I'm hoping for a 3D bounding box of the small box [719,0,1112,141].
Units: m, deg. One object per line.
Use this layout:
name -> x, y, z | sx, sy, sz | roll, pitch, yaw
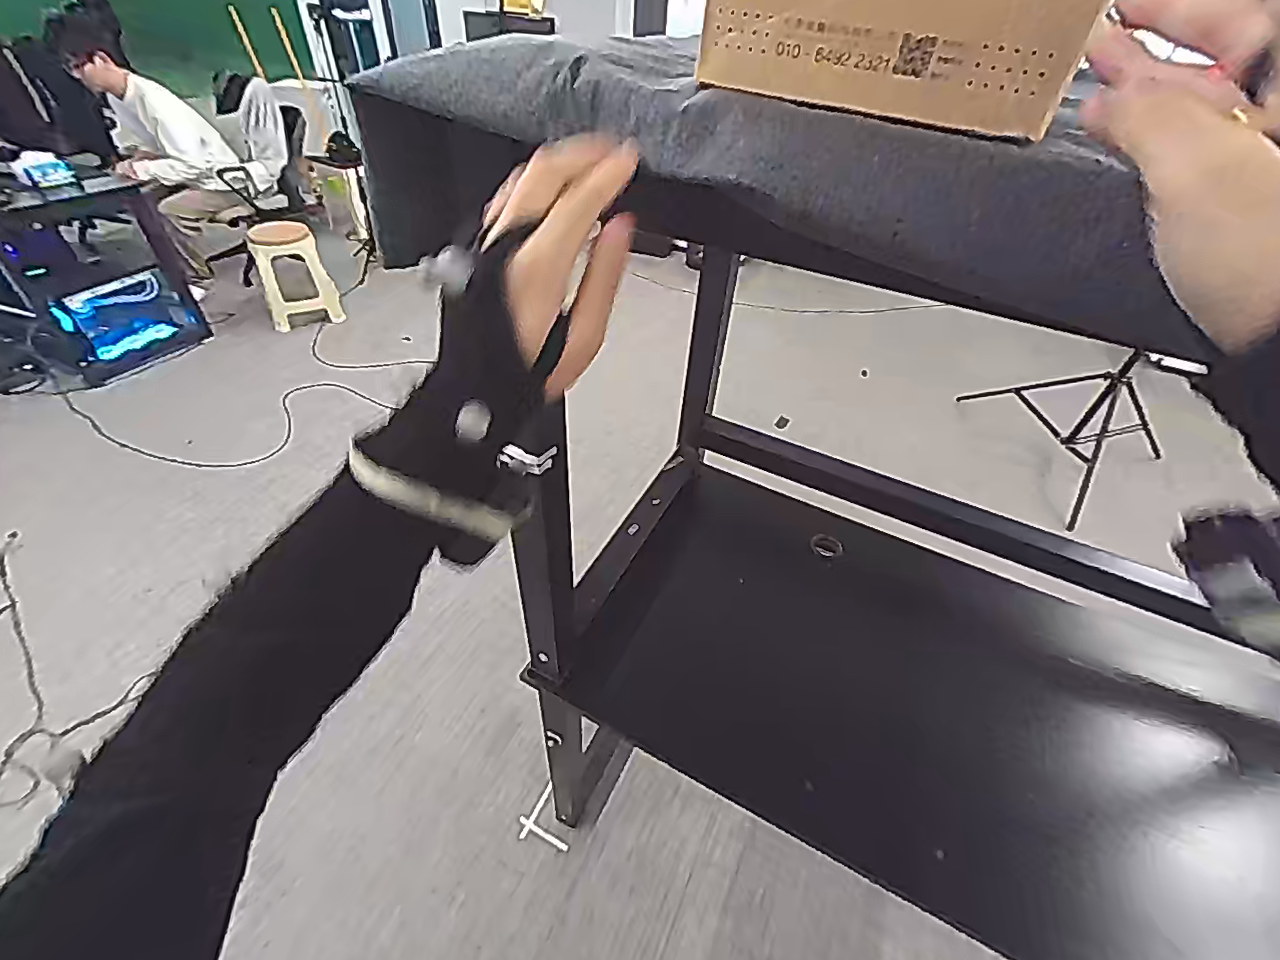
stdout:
small box -> 0.149, -0.280, 0.265 | 0.168, 0.176, 0.179 | 23, 43, 17
